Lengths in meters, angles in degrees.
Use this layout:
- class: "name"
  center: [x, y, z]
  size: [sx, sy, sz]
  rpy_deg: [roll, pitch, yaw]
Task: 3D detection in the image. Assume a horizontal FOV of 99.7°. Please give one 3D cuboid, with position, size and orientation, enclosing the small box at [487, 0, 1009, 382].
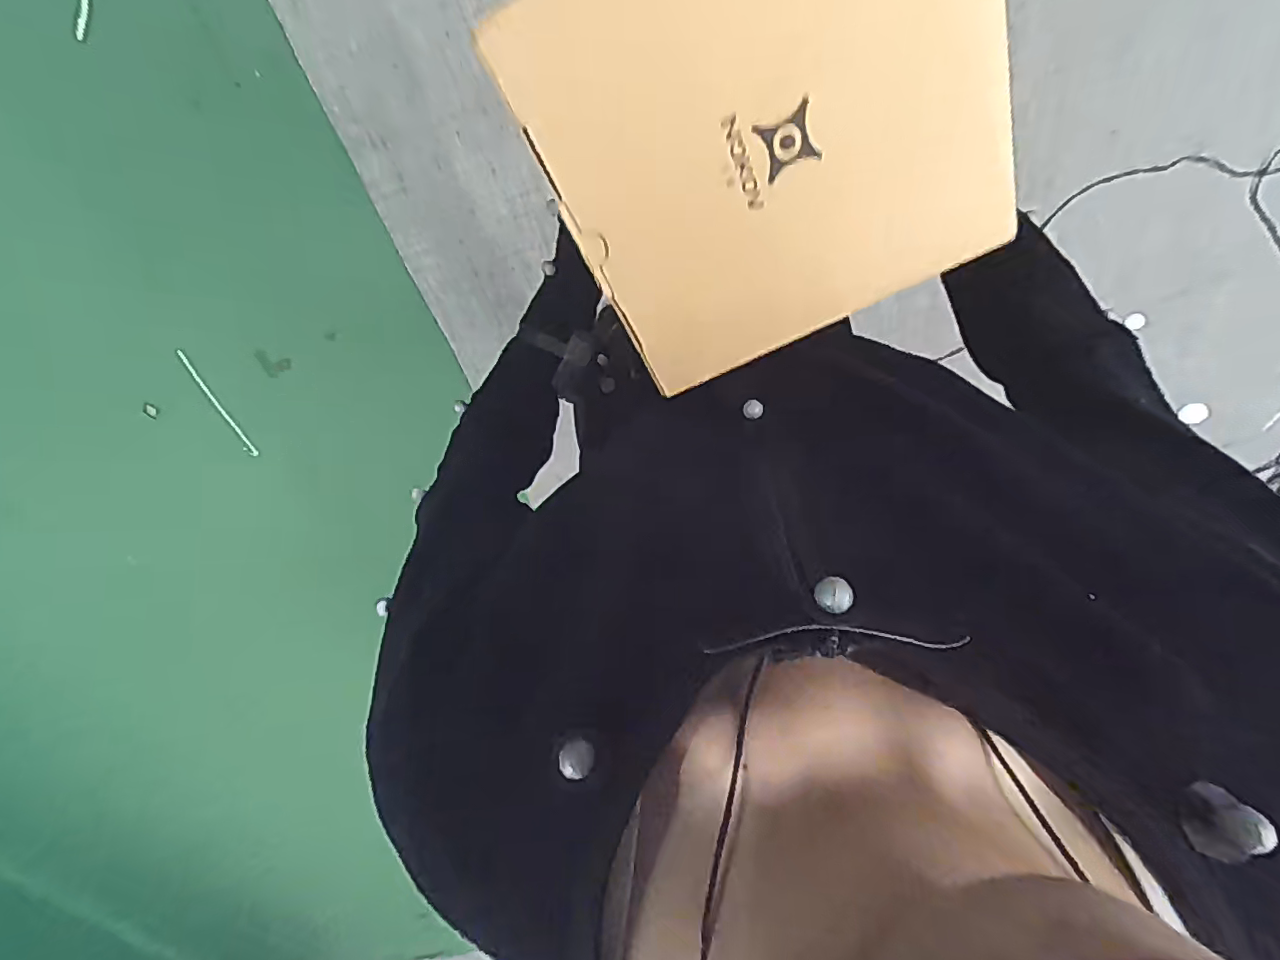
- class: "small box"
  center: [0.050, -0.188, 0.280]
  size: [0.179, 0.176, 0.168]
  rpy_deg: [-23, 126, 15]
